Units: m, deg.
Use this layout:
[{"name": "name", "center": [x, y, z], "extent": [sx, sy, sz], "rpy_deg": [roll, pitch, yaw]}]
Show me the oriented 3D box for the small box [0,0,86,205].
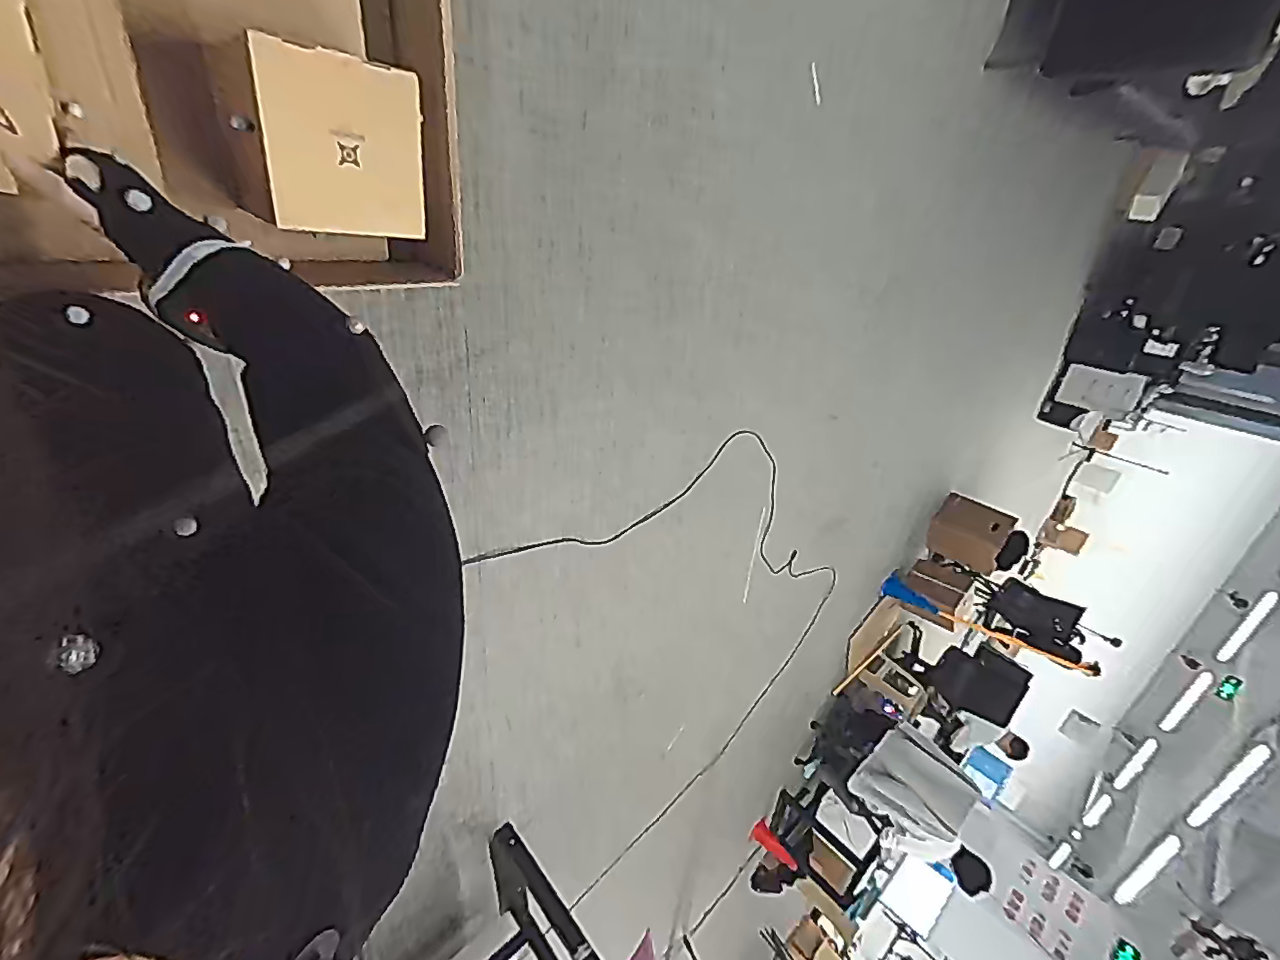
[{"name": "small box", "center": [-0.595, -0.327, 0.439], "extent": [0.179, 0.176, 0.168], "rpy_deg": [-12, 119, -40]}]
